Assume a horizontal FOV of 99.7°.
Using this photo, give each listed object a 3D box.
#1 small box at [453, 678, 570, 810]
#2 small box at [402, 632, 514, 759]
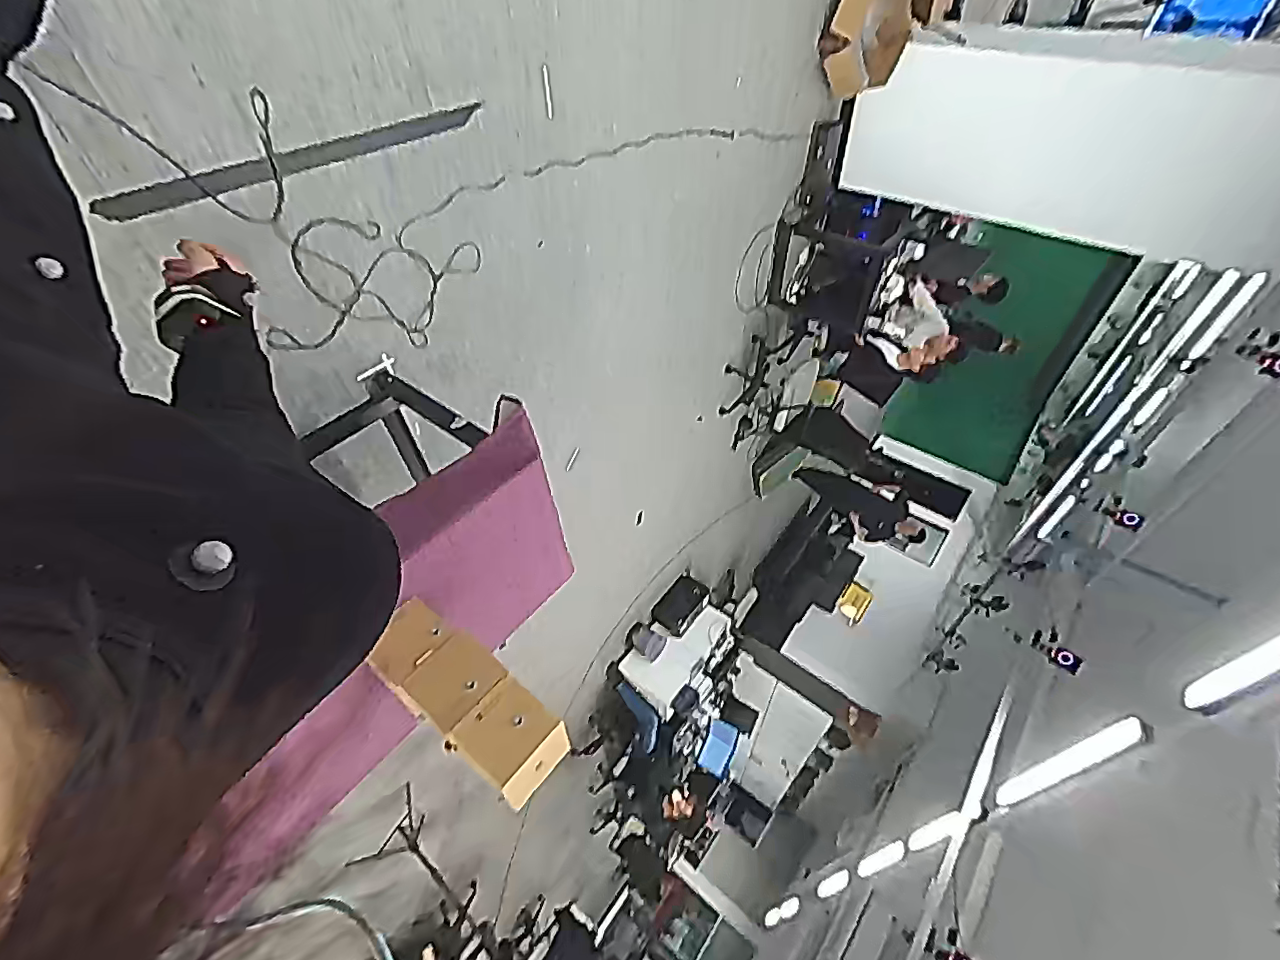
[{"bbox_3d":[-0.273,0.558,1.160,0.168,0.176,0.179,-42,150,-33],"label":"small box"},{"bbox_3d":[-0.401,0.481,1.226,0.179,0.176,0.168,-42,148,-33],"label":"small box"}]
